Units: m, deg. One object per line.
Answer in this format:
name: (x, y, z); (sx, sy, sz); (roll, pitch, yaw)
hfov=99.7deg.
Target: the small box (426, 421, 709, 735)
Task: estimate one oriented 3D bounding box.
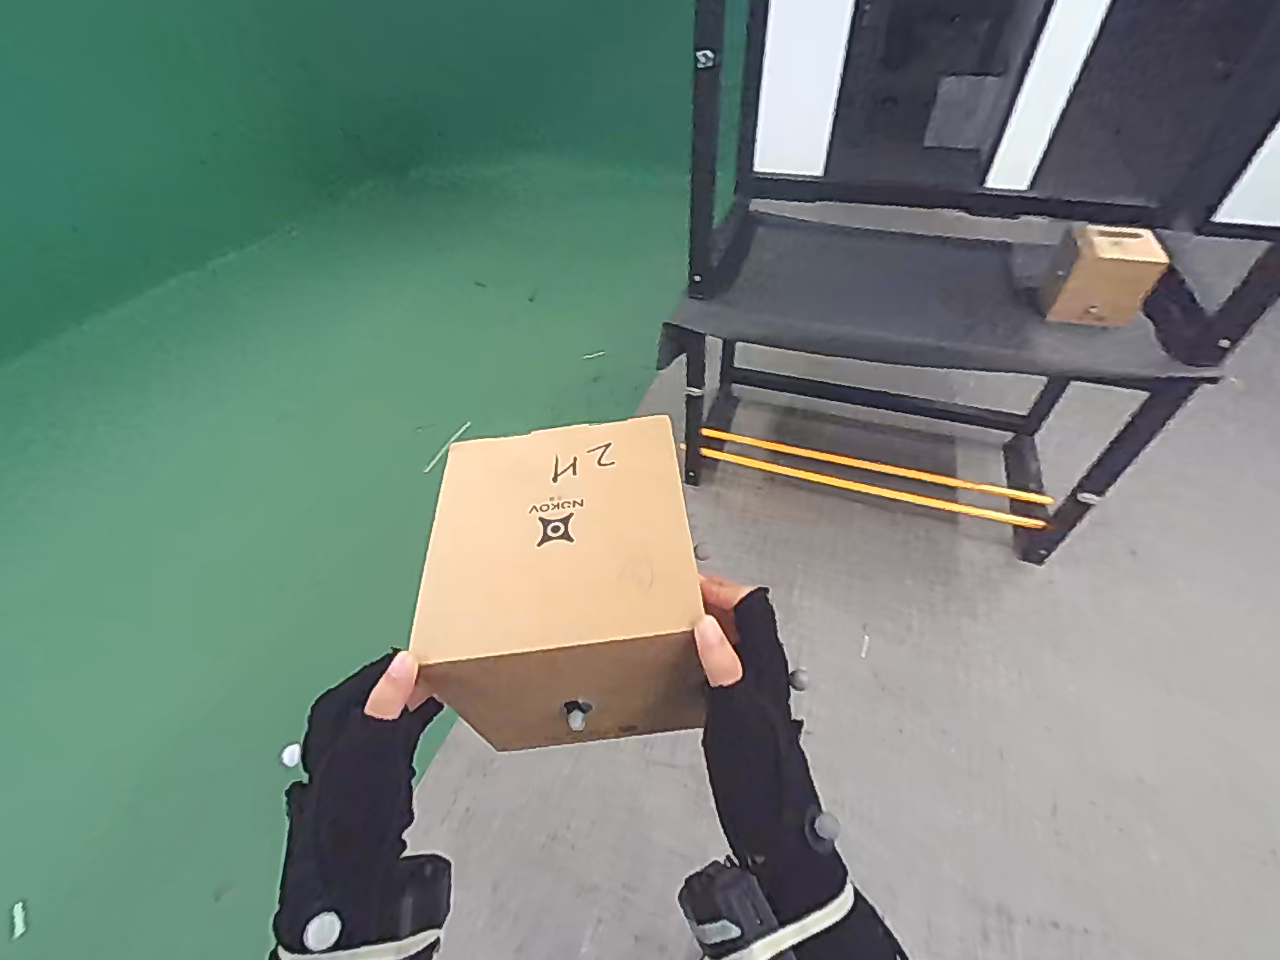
small box: (-0.040, 0.082, 0.417); (0.168, 0.176, 0.179); (-7, 48, 1)
